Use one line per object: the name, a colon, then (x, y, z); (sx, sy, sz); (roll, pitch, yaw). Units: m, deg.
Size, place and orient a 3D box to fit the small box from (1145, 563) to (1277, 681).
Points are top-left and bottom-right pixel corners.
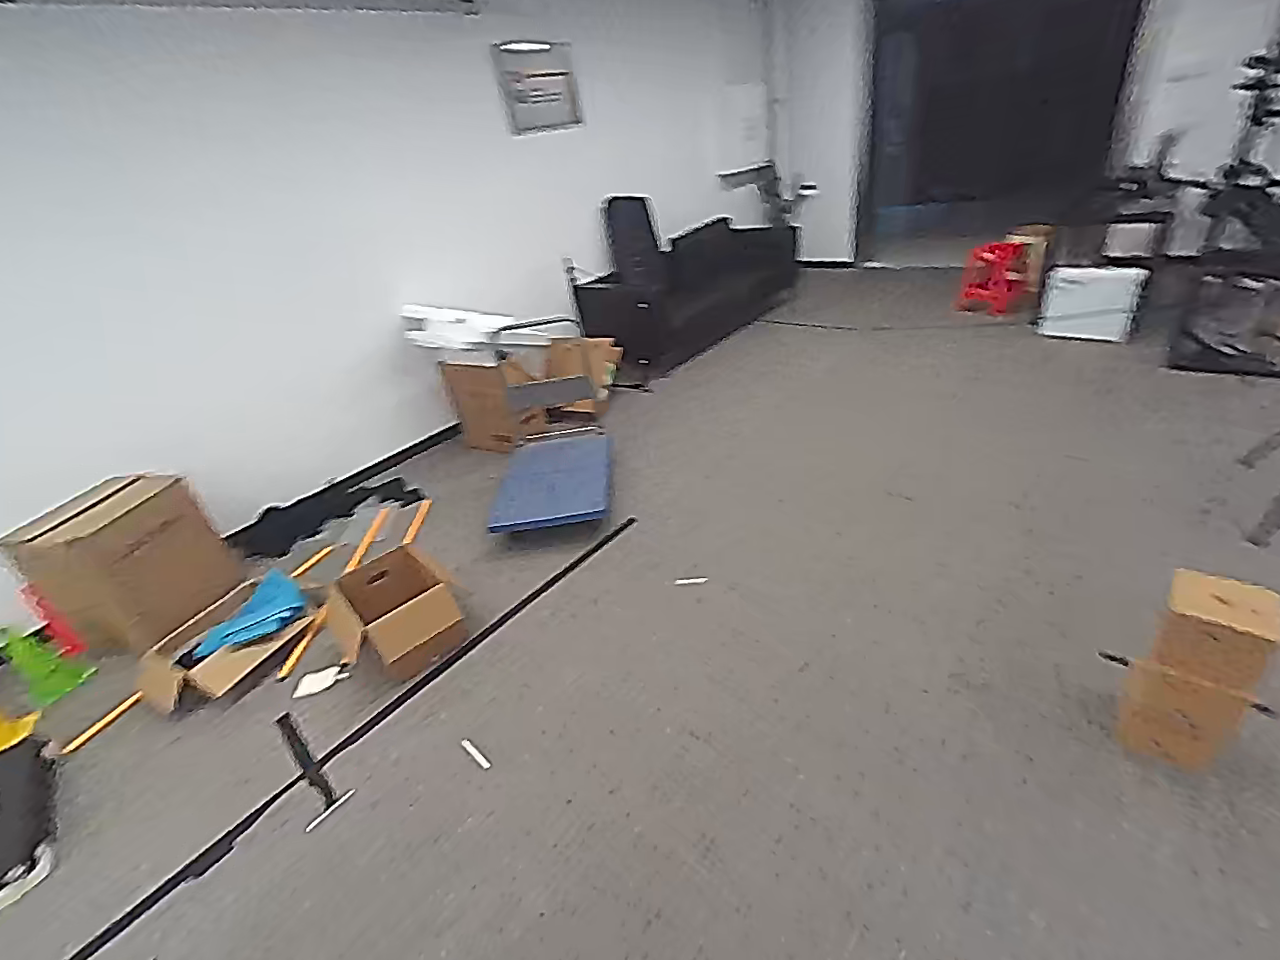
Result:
small box: (1.306, 0.326, 1.246); (0.179, 0.176, 0.168); (18, 42, 39)
